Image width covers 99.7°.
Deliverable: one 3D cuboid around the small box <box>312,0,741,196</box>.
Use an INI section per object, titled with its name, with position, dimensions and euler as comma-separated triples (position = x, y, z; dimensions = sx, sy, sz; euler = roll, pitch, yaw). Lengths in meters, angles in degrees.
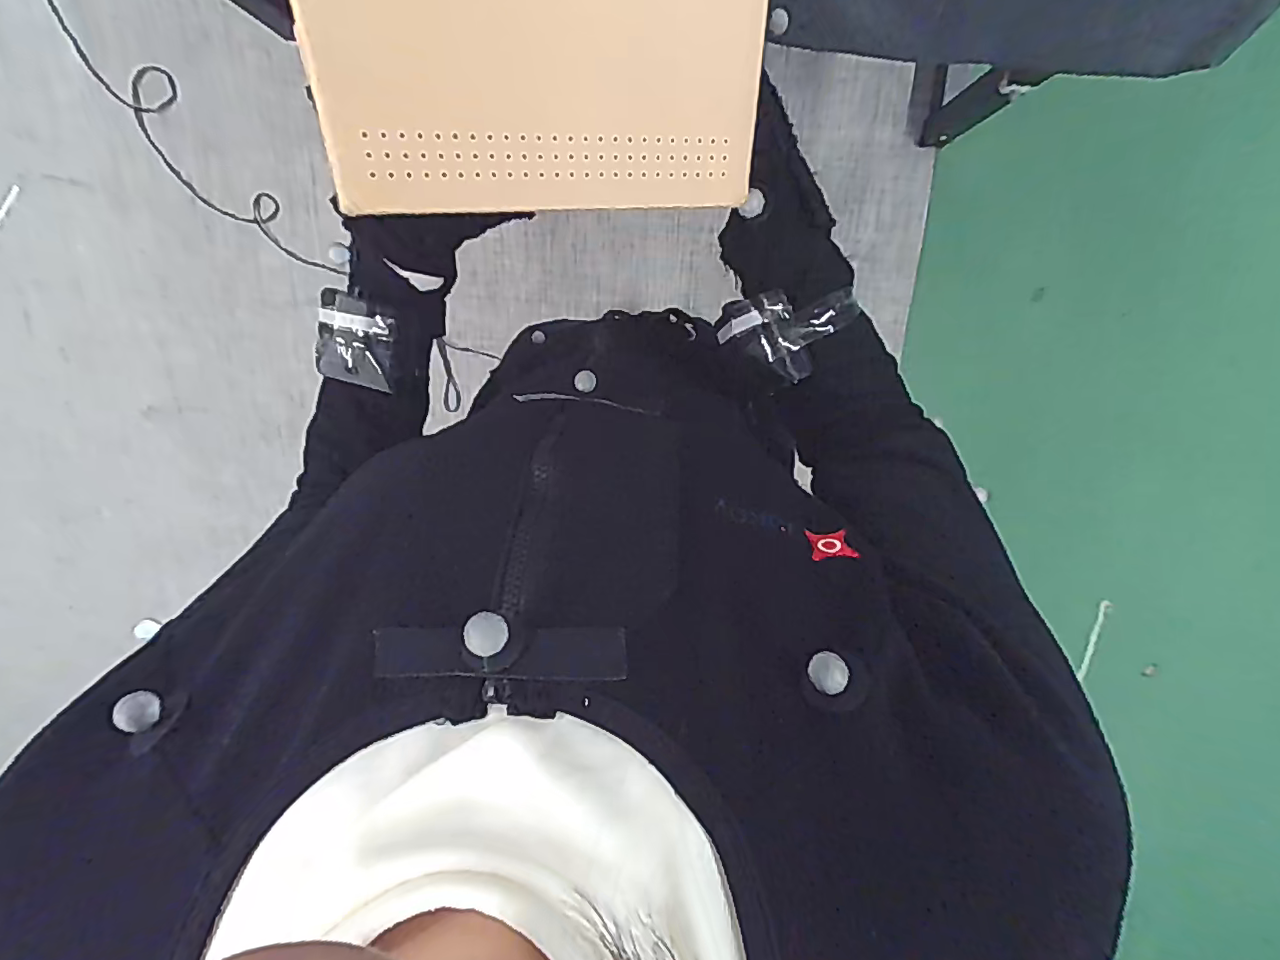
[small box]
position = -0.057, -0.237, 0.264
dimensions = 0.179, 0.168, 0.176
euler = -9, 123, -16
